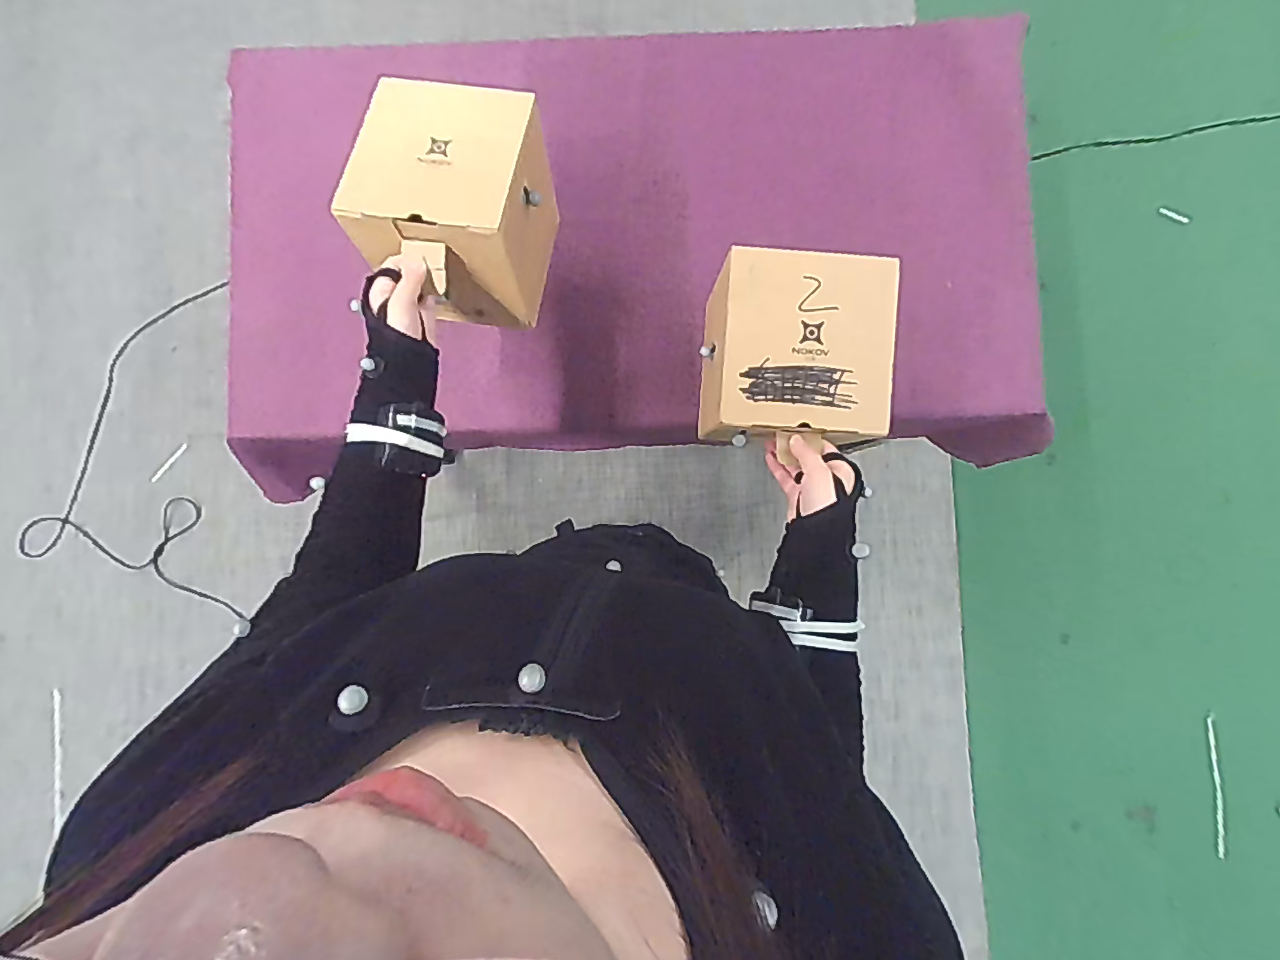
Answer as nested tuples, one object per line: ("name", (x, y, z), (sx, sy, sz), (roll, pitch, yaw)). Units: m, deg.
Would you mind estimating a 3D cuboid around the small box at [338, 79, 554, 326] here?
("small box", (-0.200, -0.305, 0.618), (0.168, 0.176, 0.179), (8, 75, 3))
